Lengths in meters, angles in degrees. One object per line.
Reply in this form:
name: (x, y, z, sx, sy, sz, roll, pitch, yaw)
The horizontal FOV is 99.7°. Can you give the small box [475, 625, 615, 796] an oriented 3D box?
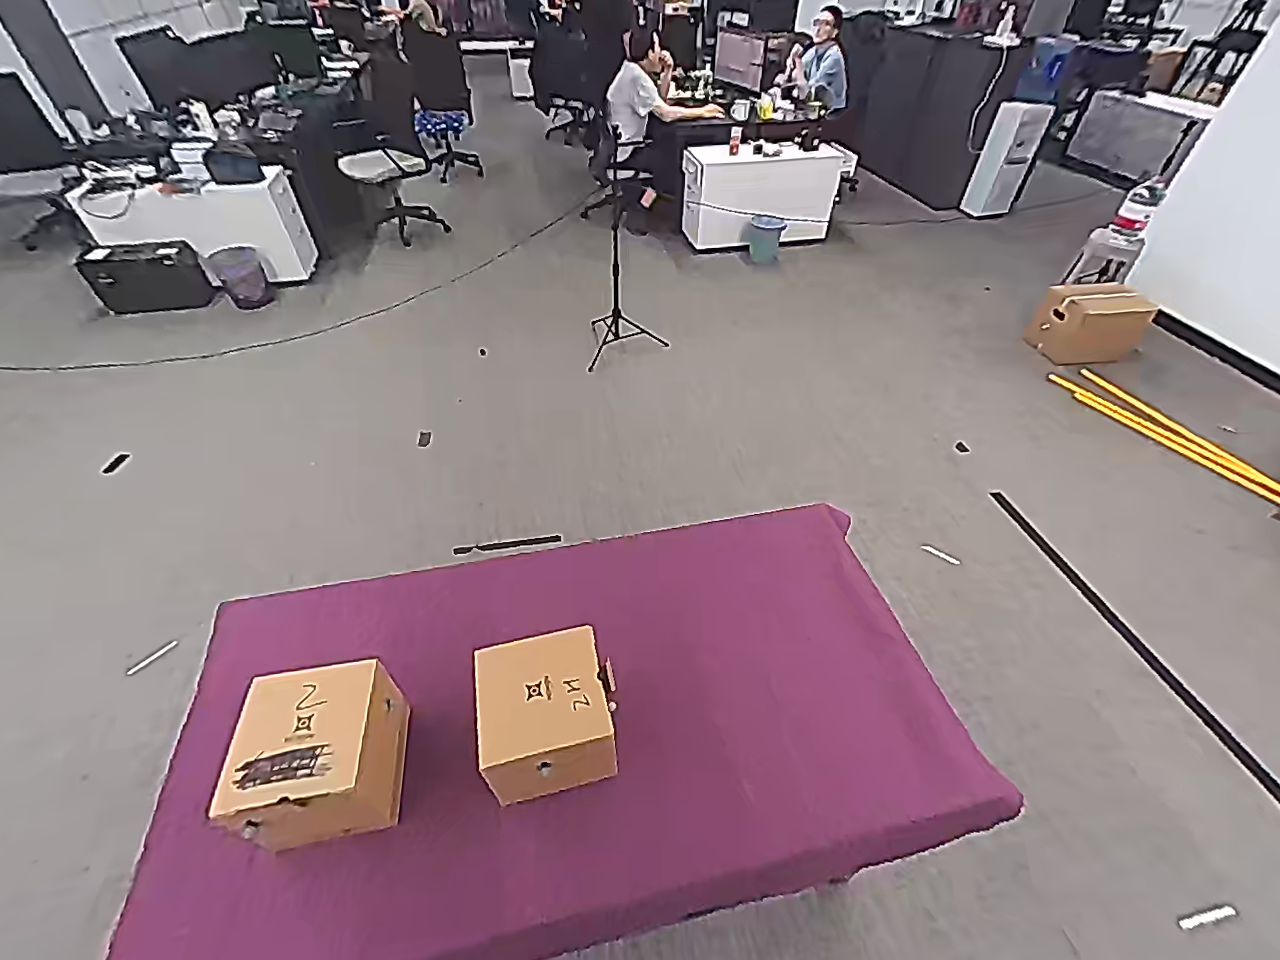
small box: (-0.139, 0.345, 0.806, 0.179, 0.176, 0.168, -9, 46, -10)
